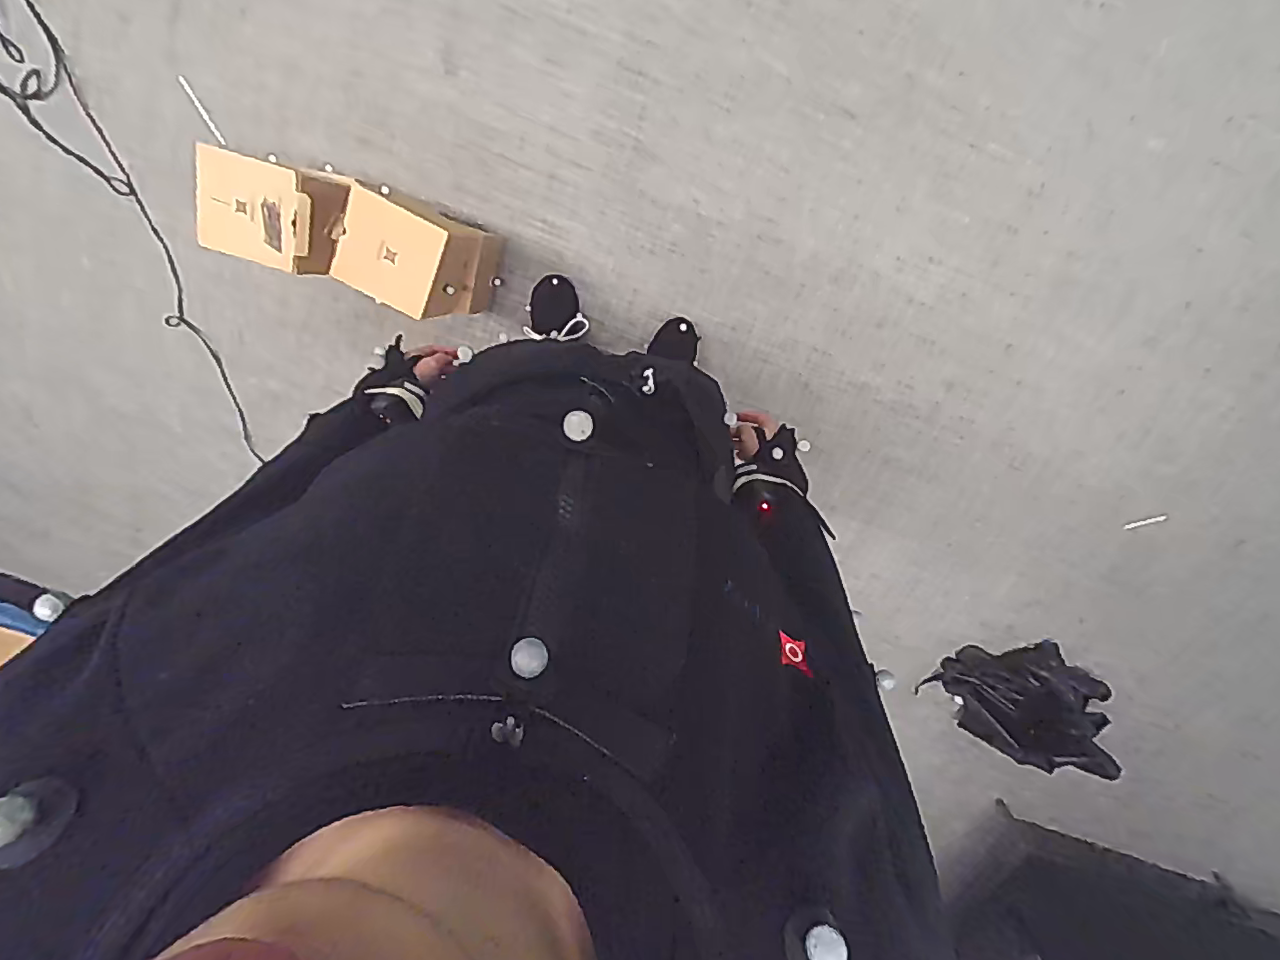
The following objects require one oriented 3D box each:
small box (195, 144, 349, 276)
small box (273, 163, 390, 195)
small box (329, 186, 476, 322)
[{"bbox_3d":[-0.660,-0.482,0.989,0.179,0.176,0.168,16,110,-2],"label":"small box"},{"bbox_3d":[-0.639,-0.542,1.142,0.168,0.176,0.179,11,111,0],"label":"small box"},{"bbox_3d":[-0.430,-0.417,1.006,0.179,0.176,0.168,26,111,-6],"label":"small box"}]
